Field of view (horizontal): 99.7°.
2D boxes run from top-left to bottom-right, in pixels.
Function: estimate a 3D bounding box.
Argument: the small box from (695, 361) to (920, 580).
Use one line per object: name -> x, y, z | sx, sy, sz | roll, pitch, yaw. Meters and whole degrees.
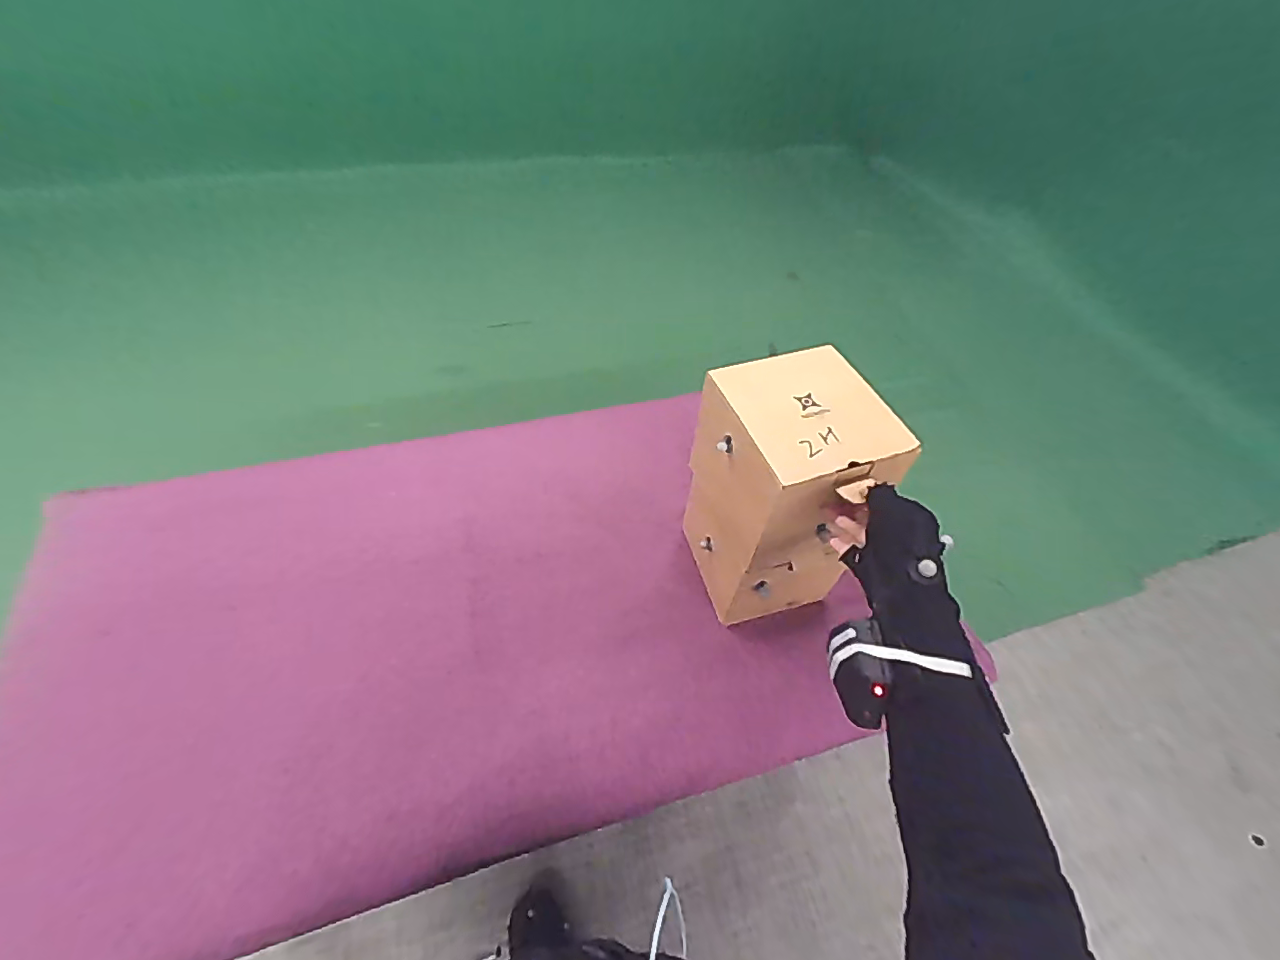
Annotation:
small box -> 0.177, -0.010, 0.640 | 0.168, 0.176, 0.179 | -15, 55, -14
